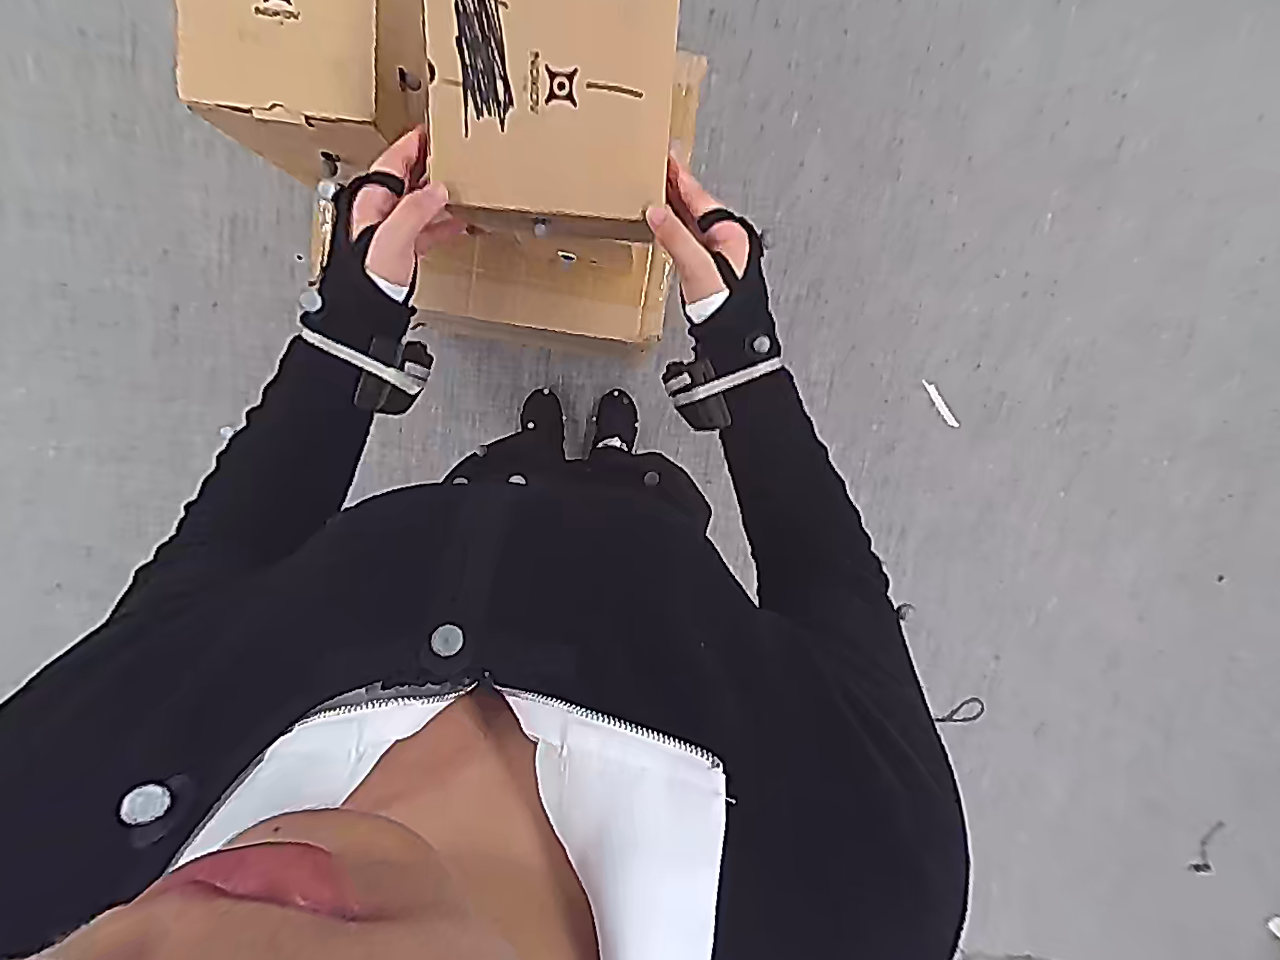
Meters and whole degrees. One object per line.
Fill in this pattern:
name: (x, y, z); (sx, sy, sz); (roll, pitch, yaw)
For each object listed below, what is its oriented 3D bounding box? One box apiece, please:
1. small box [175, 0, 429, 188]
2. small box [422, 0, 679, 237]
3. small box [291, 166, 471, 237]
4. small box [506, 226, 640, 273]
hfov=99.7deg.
small box: (-0.306, -0.411, 0.531); (0.168, 0.176, 0.179); (5, 100, -4)
small box: (-0.066, -0.308, 0.457); (0.179, 0.176, 0.168); (4, 108, -3)
small box: (-0.315, -0.436, 0.694); (0.168, 0.176, 0.179); (6, 100, -5)
small box: (-0.076, -0.390, 0.714); (0.168, 0.176, 0.179); (8, 101, -1)
